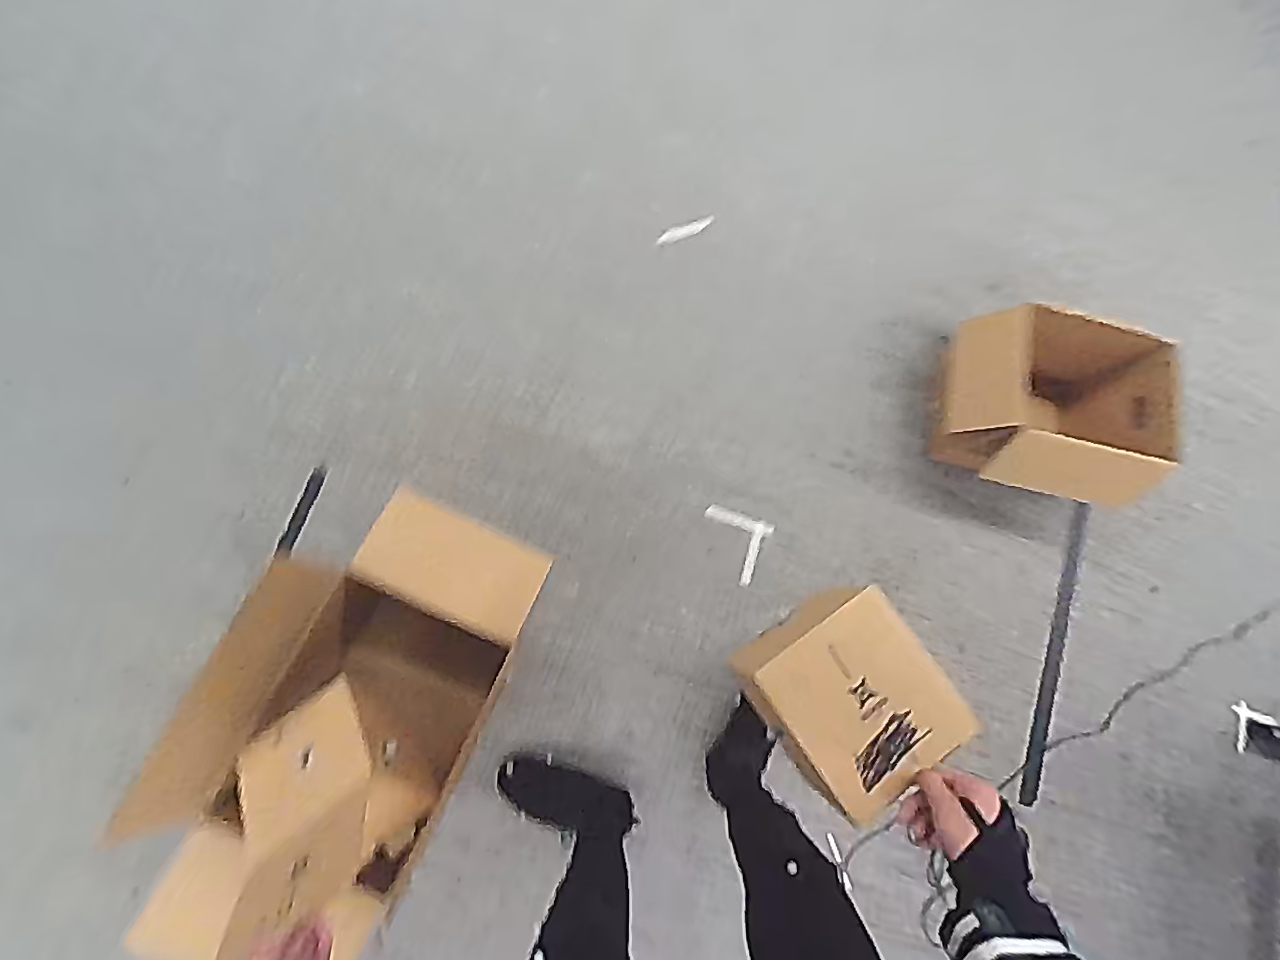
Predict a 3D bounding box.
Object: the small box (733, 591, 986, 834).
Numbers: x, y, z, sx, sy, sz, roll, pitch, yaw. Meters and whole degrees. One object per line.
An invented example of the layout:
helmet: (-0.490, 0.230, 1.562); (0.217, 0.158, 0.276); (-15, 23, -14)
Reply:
small box: (0.231, 0.246, 0.618); (0.168, 0.176, 0.179); (-33, 79, -10)
